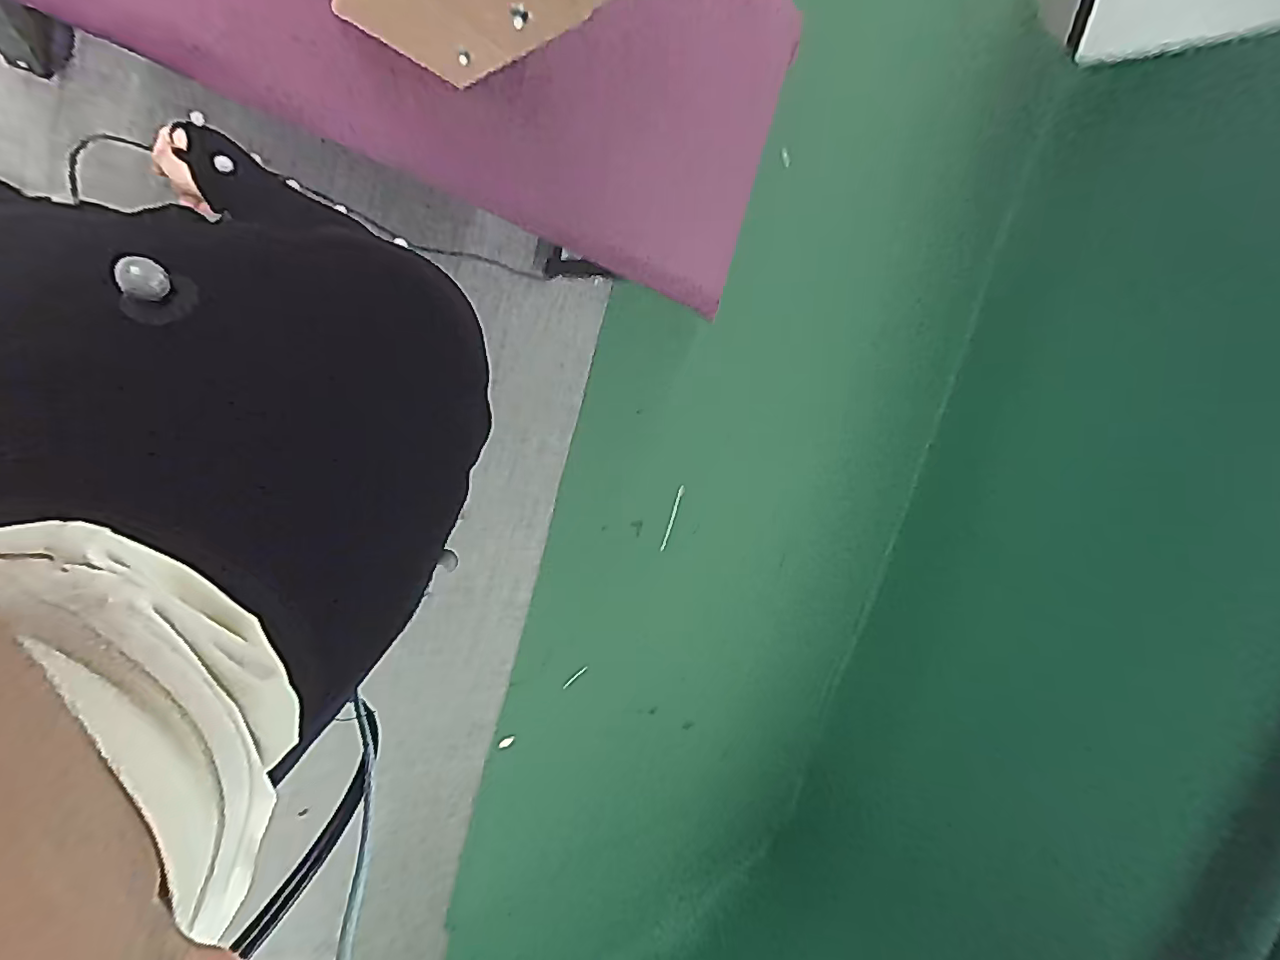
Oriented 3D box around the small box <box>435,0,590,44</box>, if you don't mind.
[{"bbox_3d":[-0.149,-0.593,0.551,0.179,0.176,0.168,7,102,-43],"label":"small box"}]
